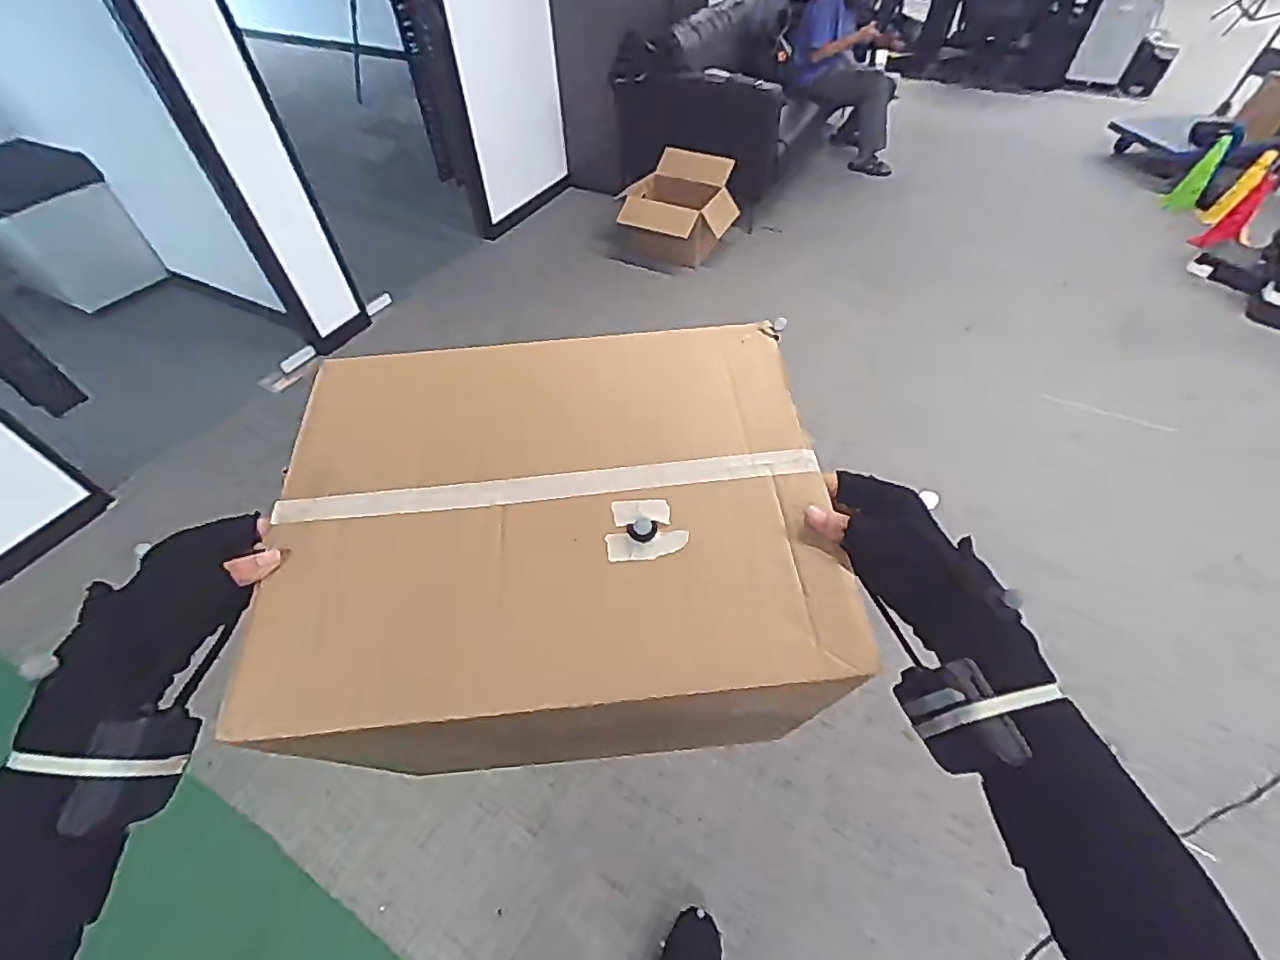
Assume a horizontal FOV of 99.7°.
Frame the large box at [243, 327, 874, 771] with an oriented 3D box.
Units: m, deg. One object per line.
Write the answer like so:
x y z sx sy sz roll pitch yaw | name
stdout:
-0.060 0.083 0.539 0.408 0.320 0.320 -5 58 -3 | large box
